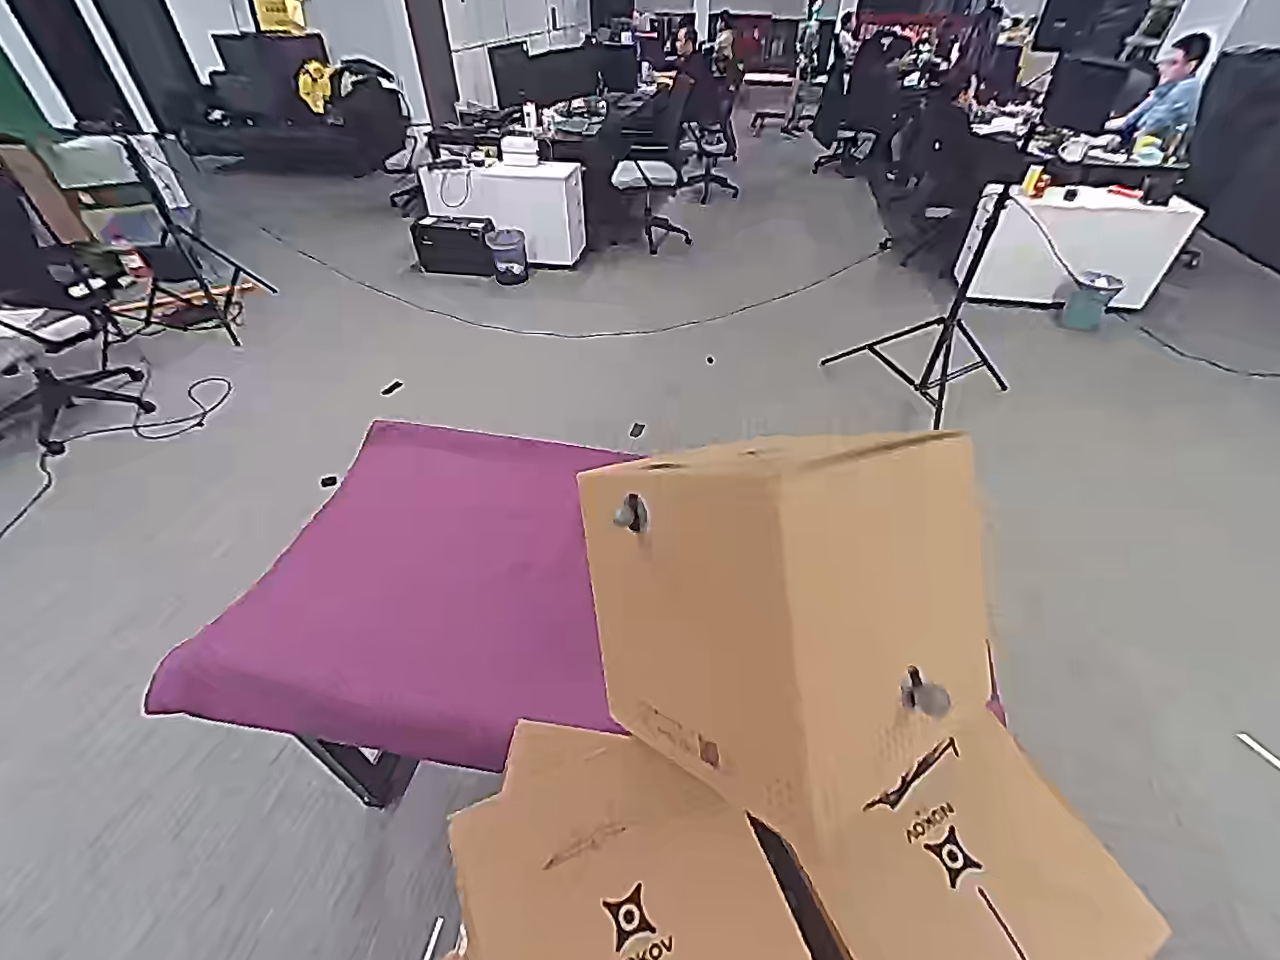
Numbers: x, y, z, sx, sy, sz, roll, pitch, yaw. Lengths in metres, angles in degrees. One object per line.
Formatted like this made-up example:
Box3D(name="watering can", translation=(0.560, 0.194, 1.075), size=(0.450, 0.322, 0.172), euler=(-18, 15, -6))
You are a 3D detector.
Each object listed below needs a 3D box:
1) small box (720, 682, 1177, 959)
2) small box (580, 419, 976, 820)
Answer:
Box3D(name="small box", translation=(0.171, 0.251, 0.370), size=(0.168, 0.176, 0.179), euler=(-20, 55, -16))
Box3D(name="small box", translation=(0.083, 0.059, 0.333), size=(0.179, 0.176, 0.168), euler=(-9, 2, -35))
